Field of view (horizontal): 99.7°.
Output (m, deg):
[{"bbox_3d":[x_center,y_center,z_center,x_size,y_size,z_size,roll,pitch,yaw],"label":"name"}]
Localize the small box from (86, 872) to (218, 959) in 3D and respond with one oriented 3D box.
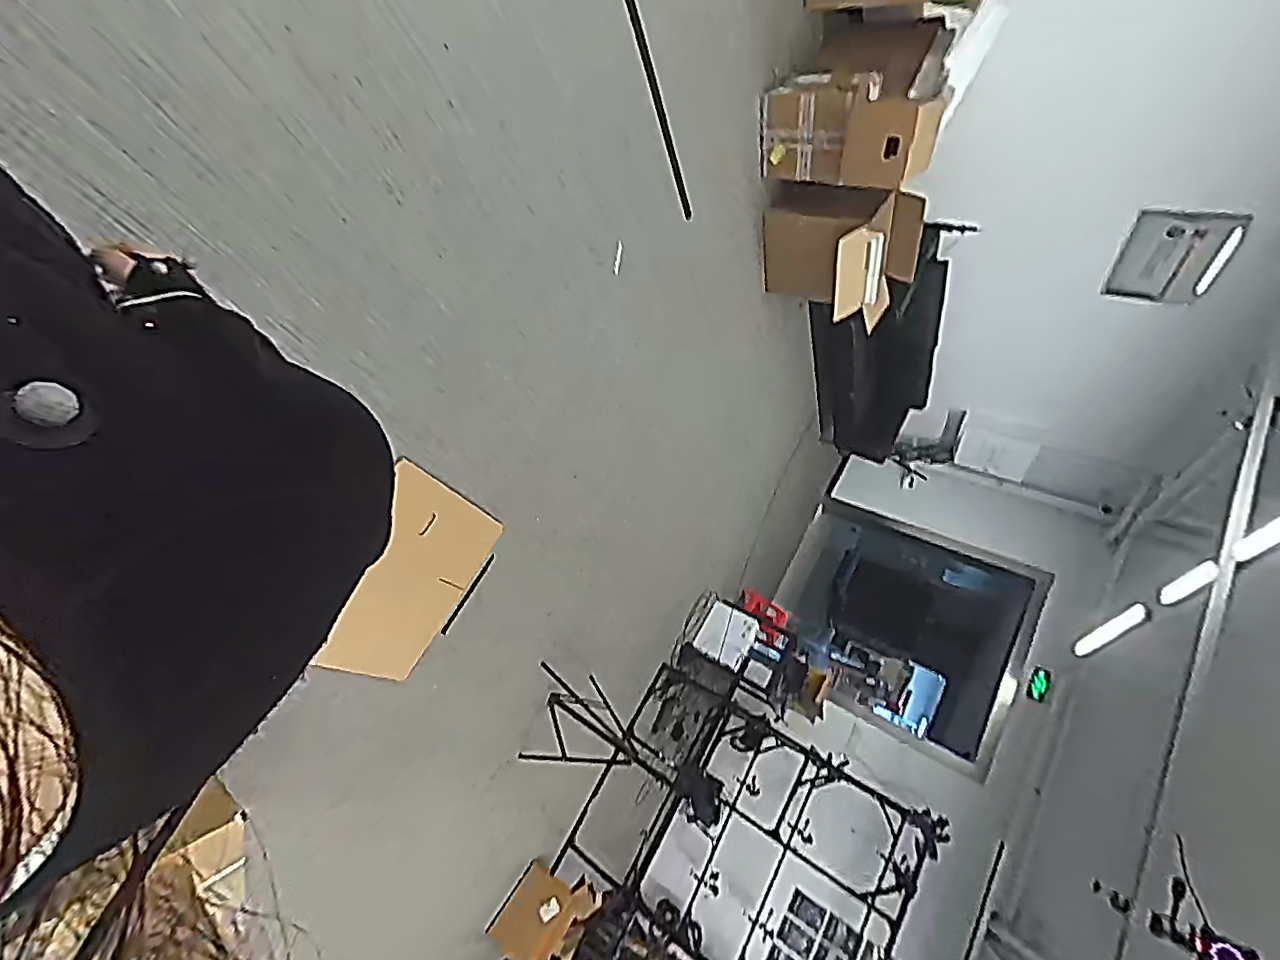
[{"bbox_3d":[-1.070,1.029,1.191,0.179,0.176,0.168,-16,121,-52],"label":"small box"}]
